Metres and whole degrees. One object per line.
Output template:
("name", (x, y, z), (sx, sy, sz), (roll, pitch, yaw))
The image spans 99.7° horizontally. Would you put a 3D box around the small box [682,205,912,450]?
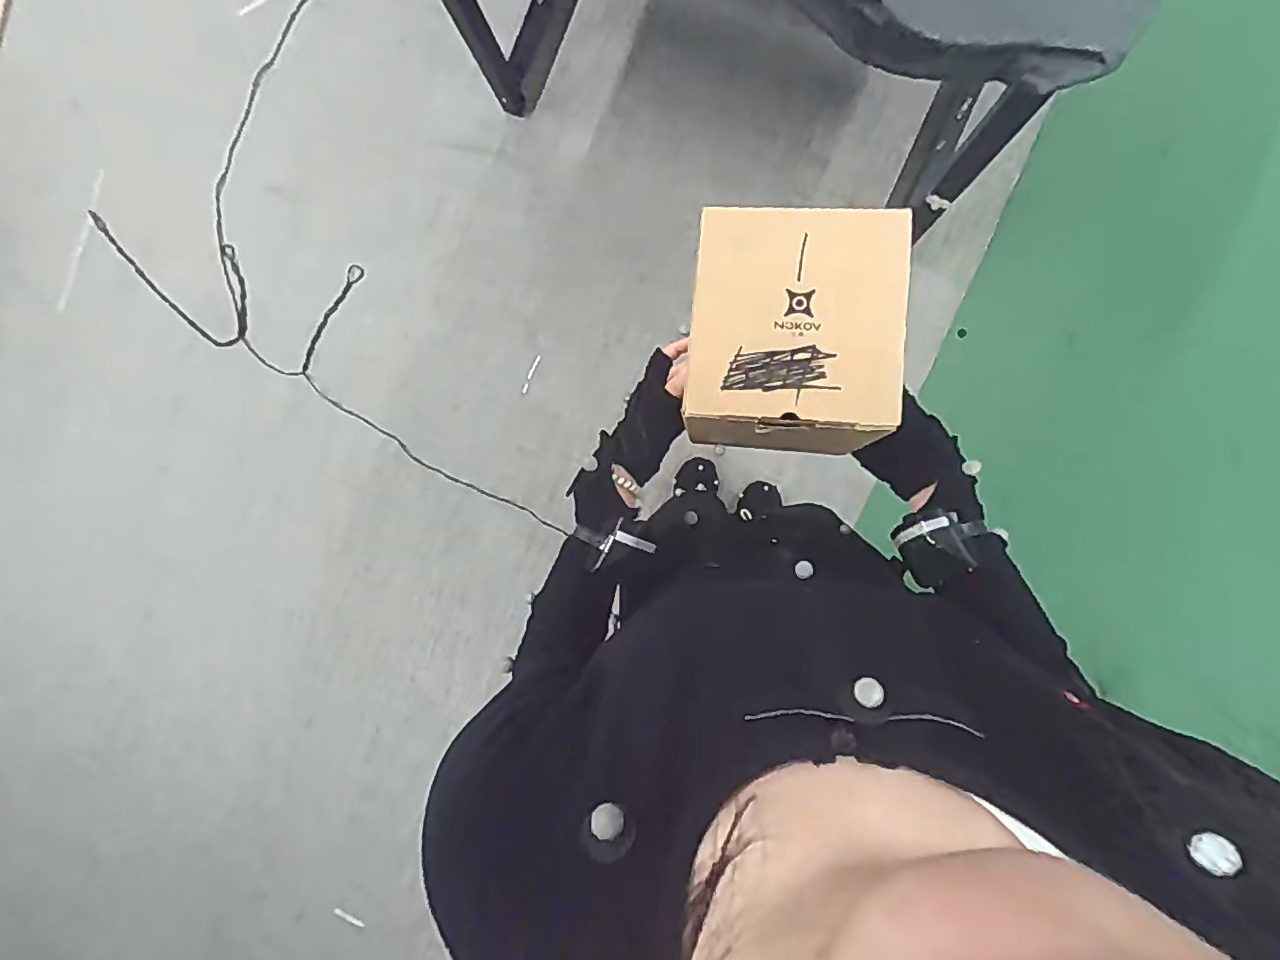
("small box", (0.133, -0.126, 0.505), (0.168, 0.176, 0.179), (5, 86, 7))
